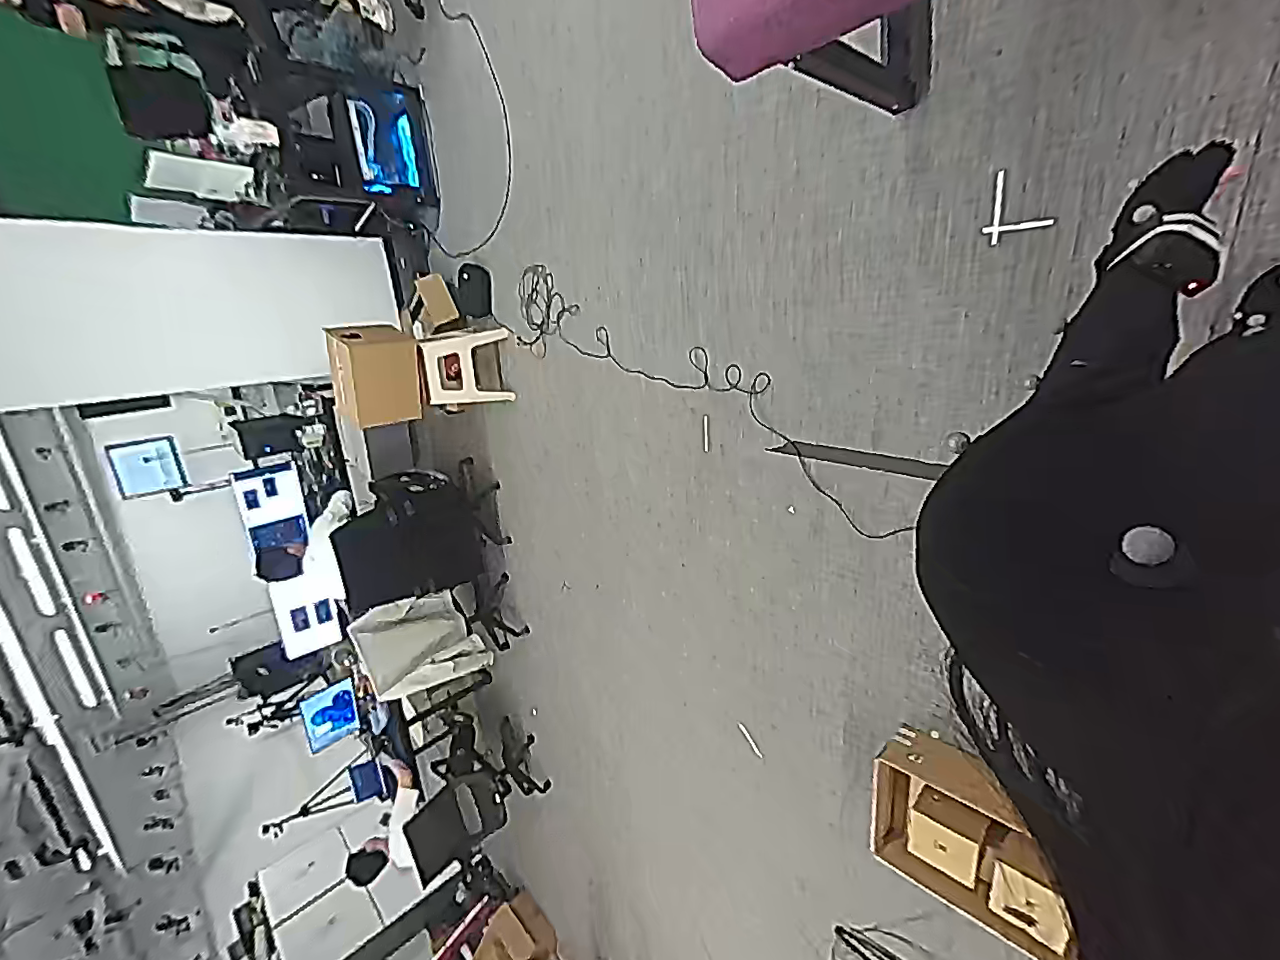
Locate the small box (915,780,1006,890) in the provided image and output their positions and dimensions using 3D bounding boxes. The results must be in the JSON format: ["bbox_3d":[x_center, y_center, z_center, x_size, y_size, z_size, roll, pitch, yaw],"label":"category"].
[{"bbox_3d":[0.924,1.009,1.561,0.179,0.176,0.168,13,114,44],"label":"small box"}]
